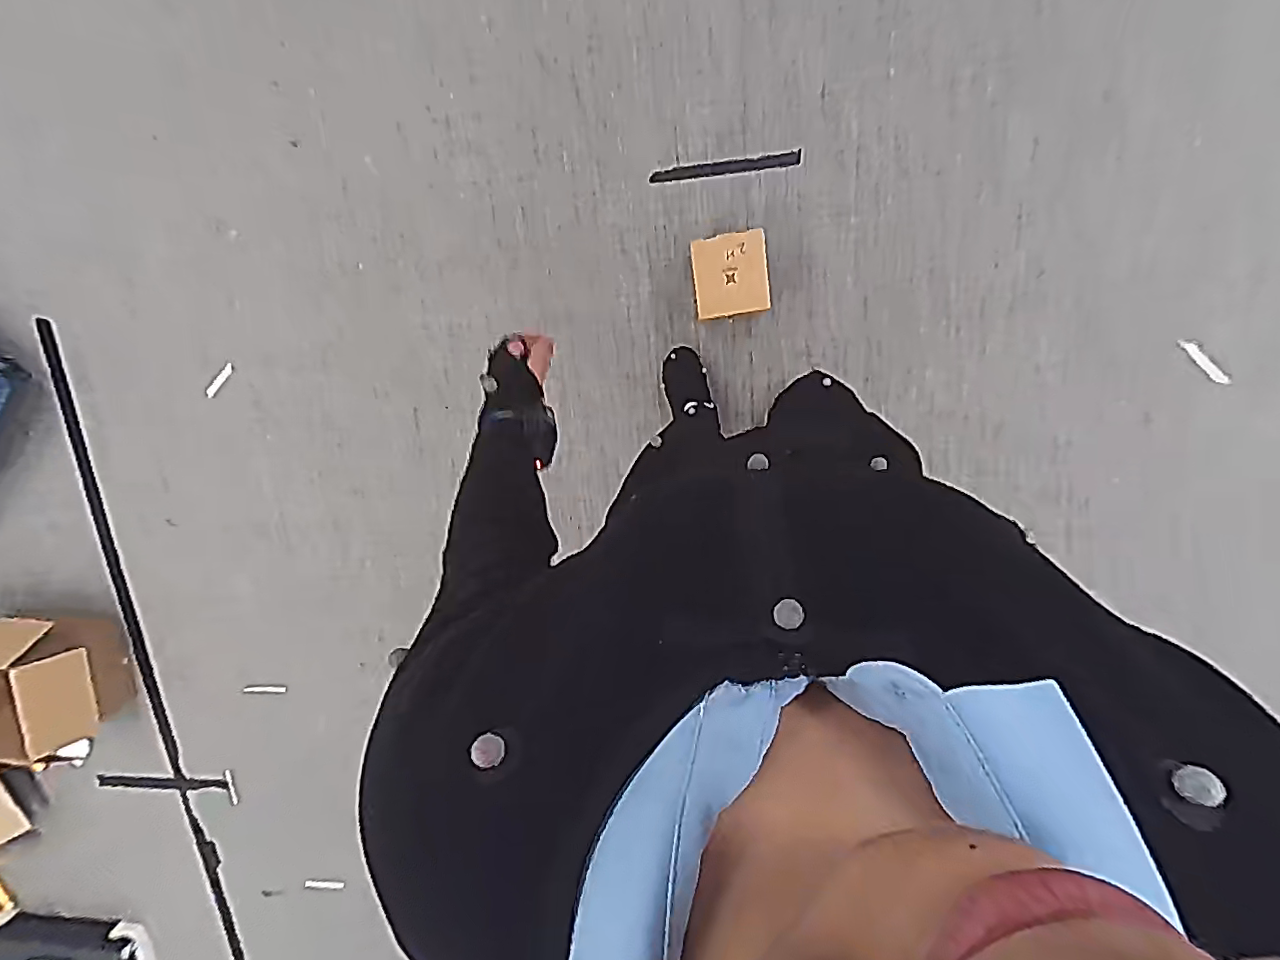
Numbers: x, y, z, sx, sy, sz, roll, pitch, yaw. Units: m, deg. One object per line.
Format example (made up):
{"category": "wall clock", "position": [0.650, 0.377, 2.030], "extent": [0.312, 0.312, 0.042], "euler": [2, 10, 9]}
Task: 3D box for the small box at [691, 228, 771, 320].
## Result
{"category": "small box", "position": [0.215, -0.481, 1.290], "extent": [0.168, 0.176, 0.179], "euler": [-7, 102, 7]}
